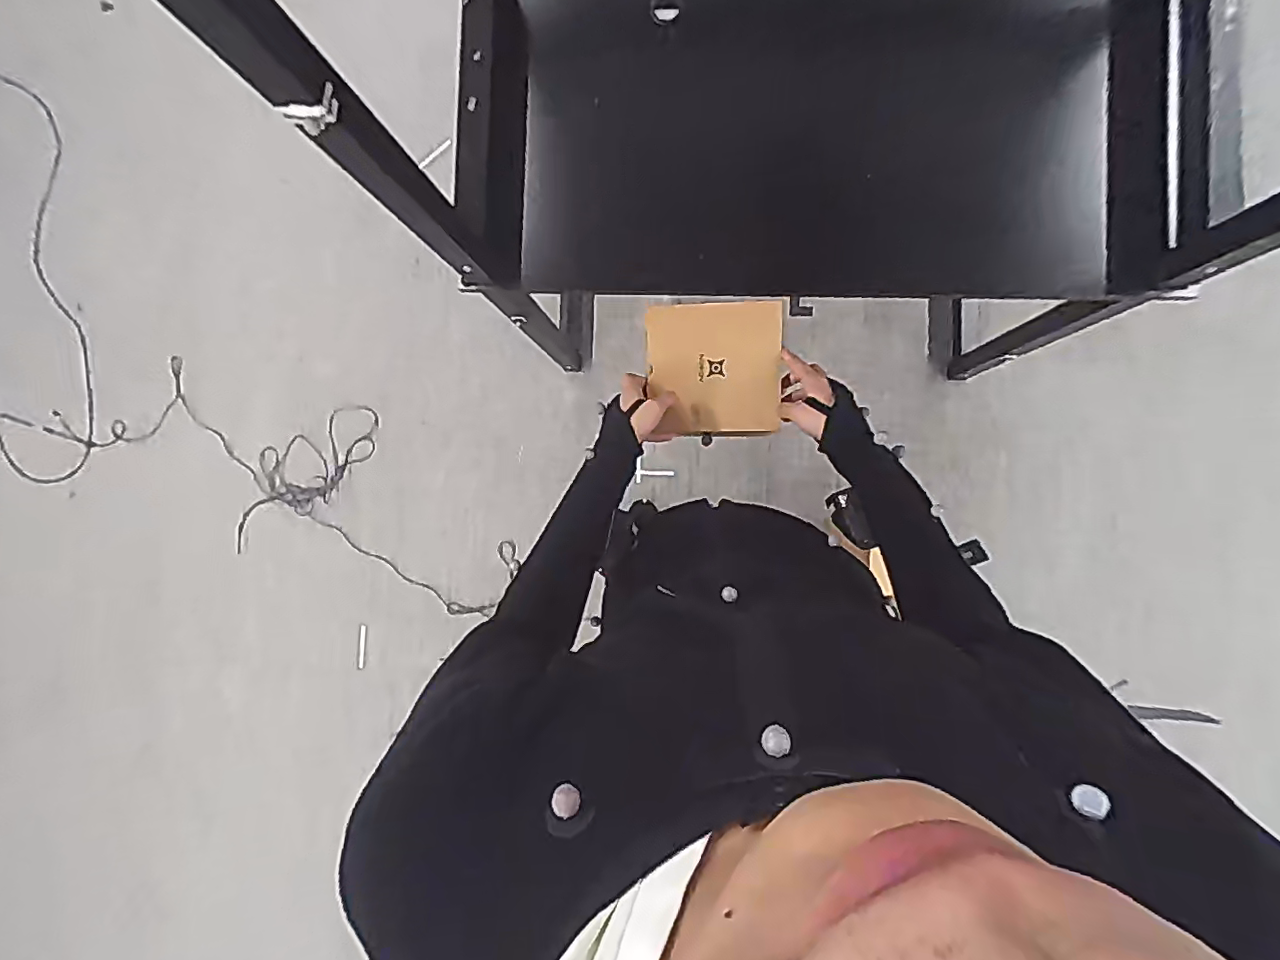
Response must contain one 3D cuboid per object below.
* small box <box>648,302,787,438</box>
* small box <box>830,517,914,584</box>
[{"bbox_3d":[0.107,-0.147,0.766,0.179,0.176,0.168,0,93,9],"label":"small box"},{"bbox_3d":[0.638,0.190,1.501,0.179,0.176,0.168,0,88,7],"label":"small box"}]
